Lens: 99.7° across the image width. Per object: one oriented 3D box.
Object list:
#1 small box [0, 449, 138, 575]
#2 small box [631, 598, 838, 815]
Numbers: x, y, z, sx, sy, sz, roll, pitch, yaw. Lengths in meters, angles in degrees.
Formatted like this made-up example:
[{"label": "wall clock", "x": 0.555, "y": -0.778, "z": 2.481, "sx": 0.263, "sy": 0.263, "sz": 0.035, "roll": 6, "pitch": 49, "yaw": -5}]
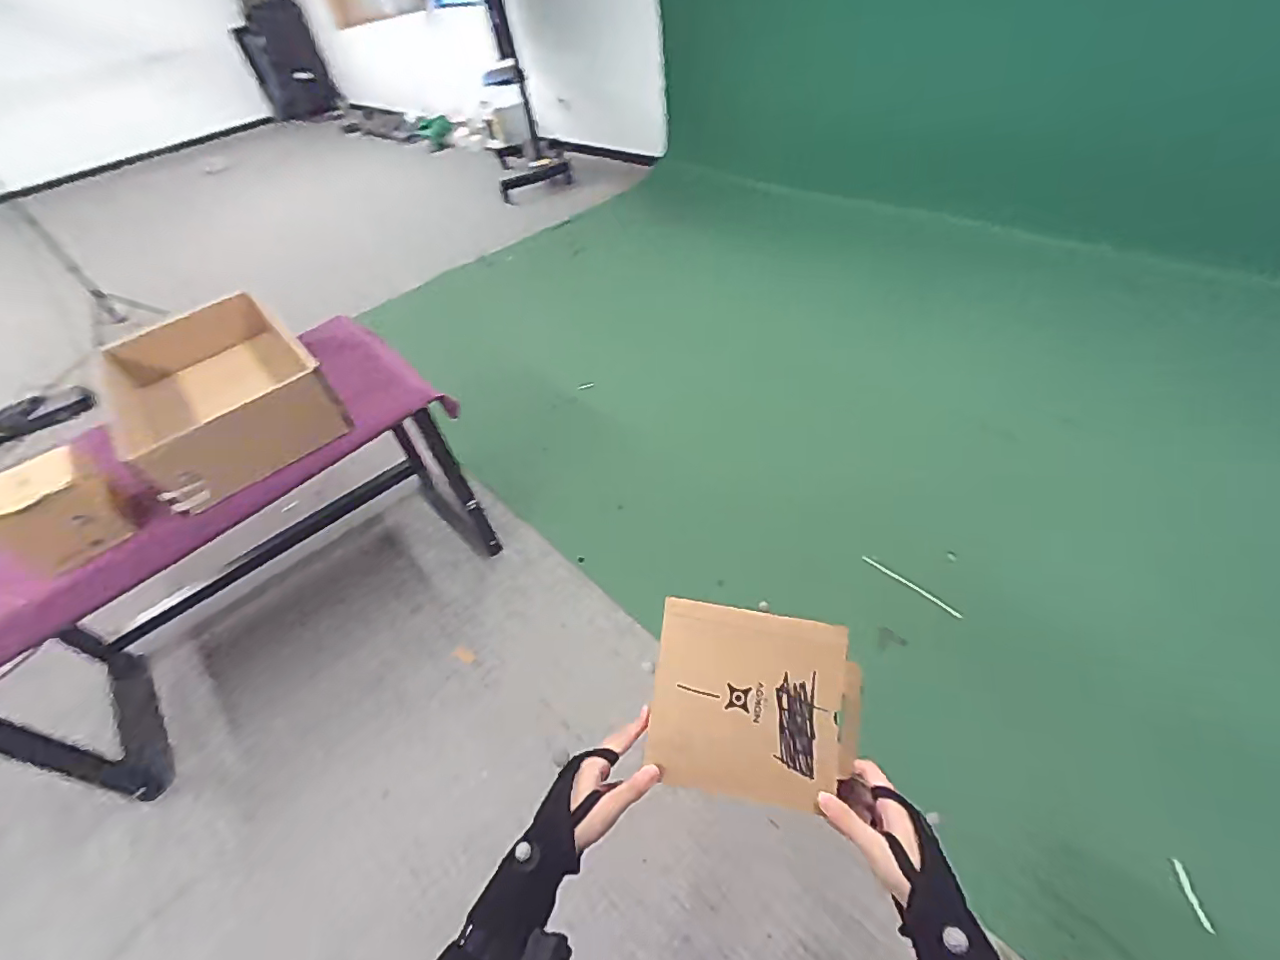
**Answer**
[{"label": "small box", "x": -1.206, "y": 0.072, "z": 1.131, "sx": 0.168, "sy": 0.176, "sz": 0.179, "roll": -36, "pitch": 49, "yaw": -24}, {"label": "small box", "x": 0.093, "y": 0.226, "z": 0.575, "sx": 0.179, "sy": 0.176, "sz": 0.168, "roll": 8, "pitch": 73, "yaw": 5}]
